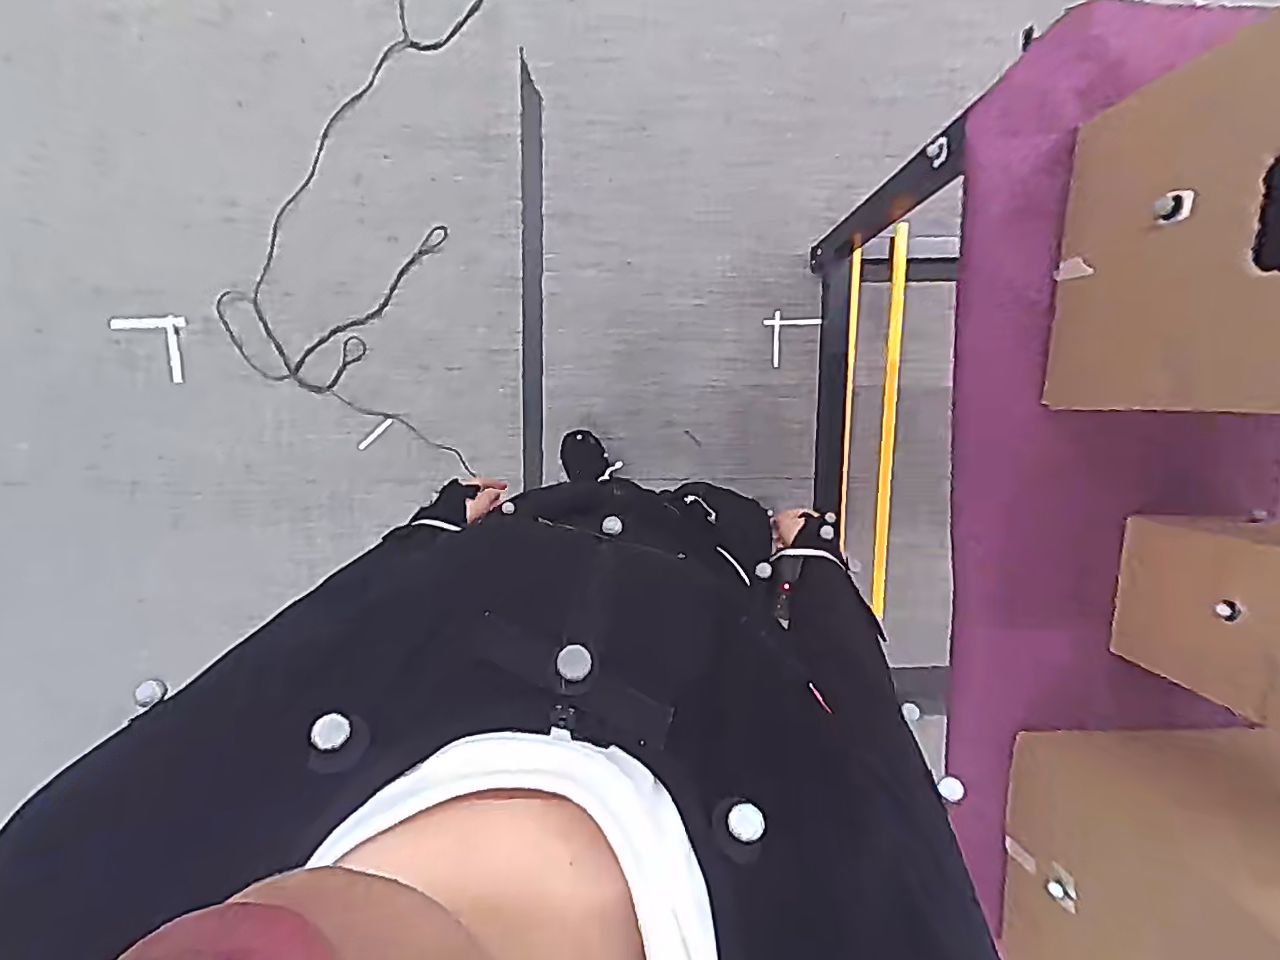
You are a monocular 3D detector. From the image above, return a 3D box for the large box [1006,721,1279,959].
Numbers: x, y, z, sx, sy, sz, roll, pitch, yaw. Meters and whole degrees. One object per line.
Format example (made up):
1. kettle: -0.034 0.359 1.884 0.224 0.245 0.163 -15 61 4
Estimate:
1. large box: 0.677 0.479 0.558 0.408 0.320 0.320 -1 97 -3
